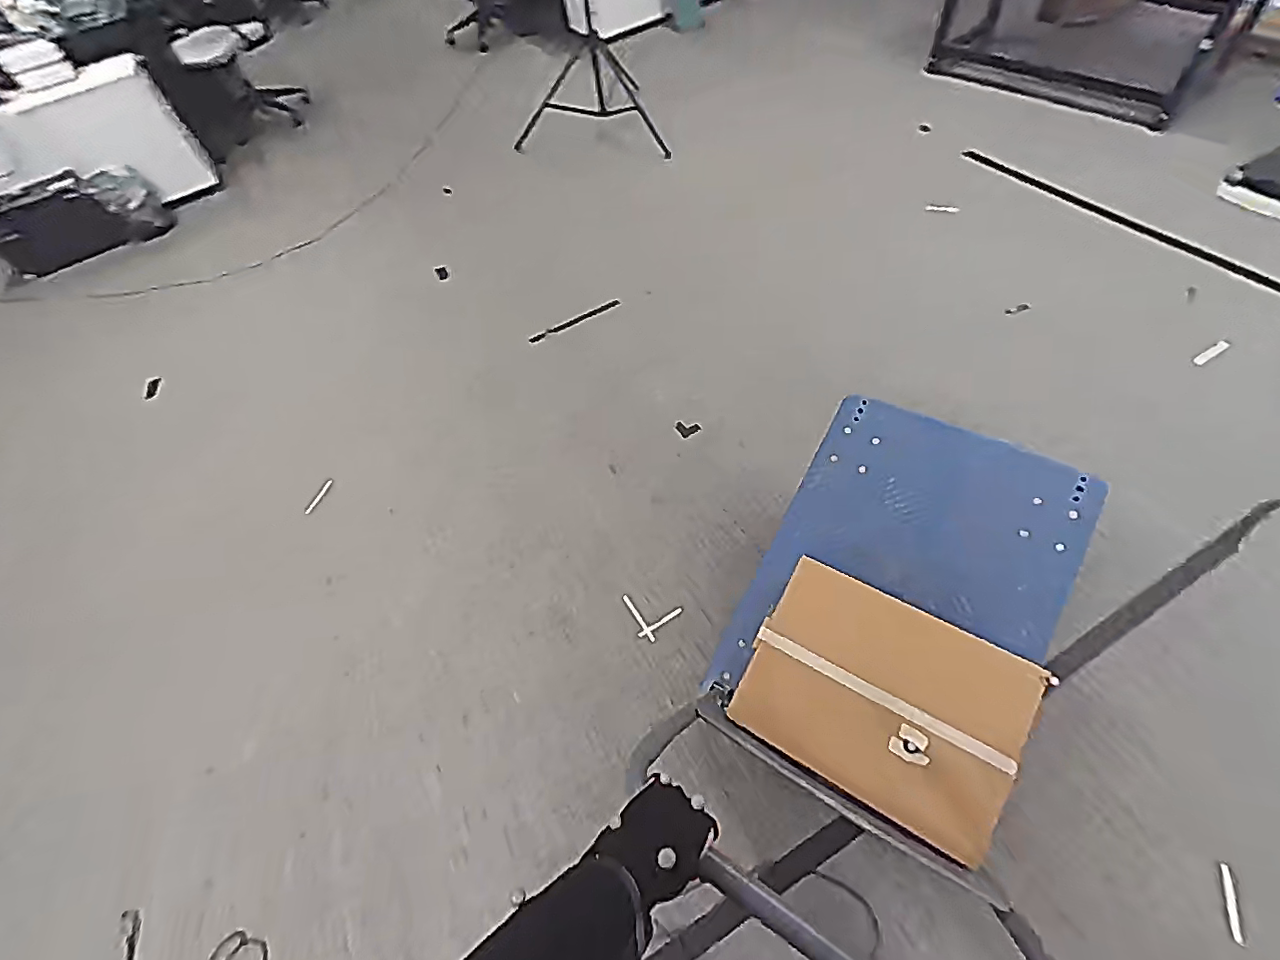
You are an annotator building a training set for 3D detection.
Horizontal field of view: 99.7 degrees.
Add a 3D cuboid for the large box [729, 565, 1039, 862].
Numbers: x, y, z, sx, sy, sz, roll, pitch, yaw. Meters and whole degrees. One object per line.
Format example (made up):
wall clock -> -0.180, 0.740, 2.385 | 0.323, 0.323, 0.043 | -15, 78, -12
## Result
large box -> 0.422, 0.406, 1.025 | 0.408, 0.320, 0.320 | 25, 80, 21
